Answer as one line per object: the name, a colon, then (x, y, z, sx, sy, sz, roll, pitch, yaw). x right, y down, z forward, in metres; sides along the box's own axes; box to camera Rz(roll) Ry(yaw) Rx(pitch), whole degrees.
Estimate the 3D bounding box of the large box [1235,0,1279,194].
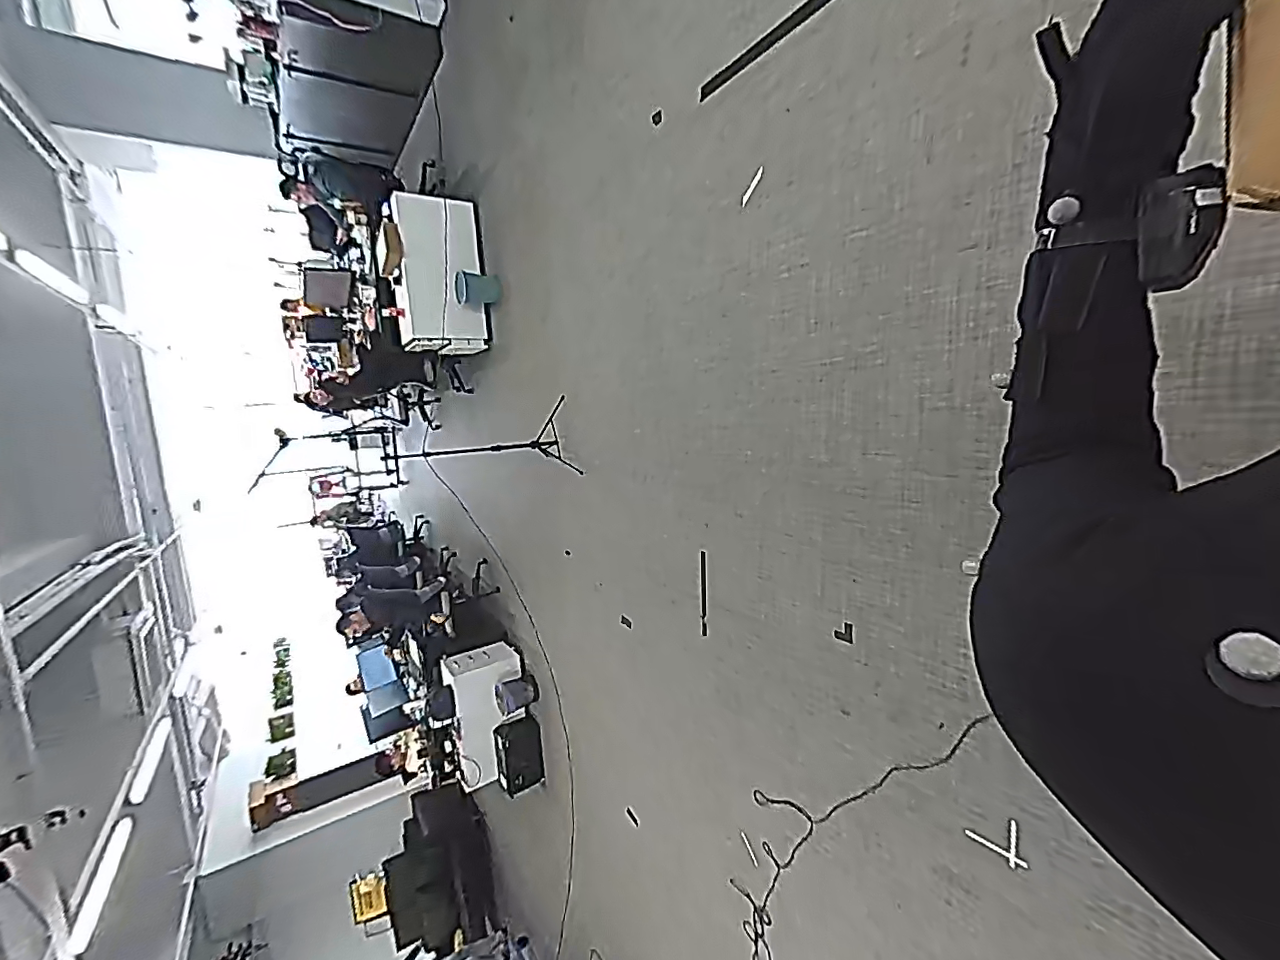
large box: (0.531, -0.337, 0.192, 0.408, 0.320, 0.320, 4, 109, 55)
